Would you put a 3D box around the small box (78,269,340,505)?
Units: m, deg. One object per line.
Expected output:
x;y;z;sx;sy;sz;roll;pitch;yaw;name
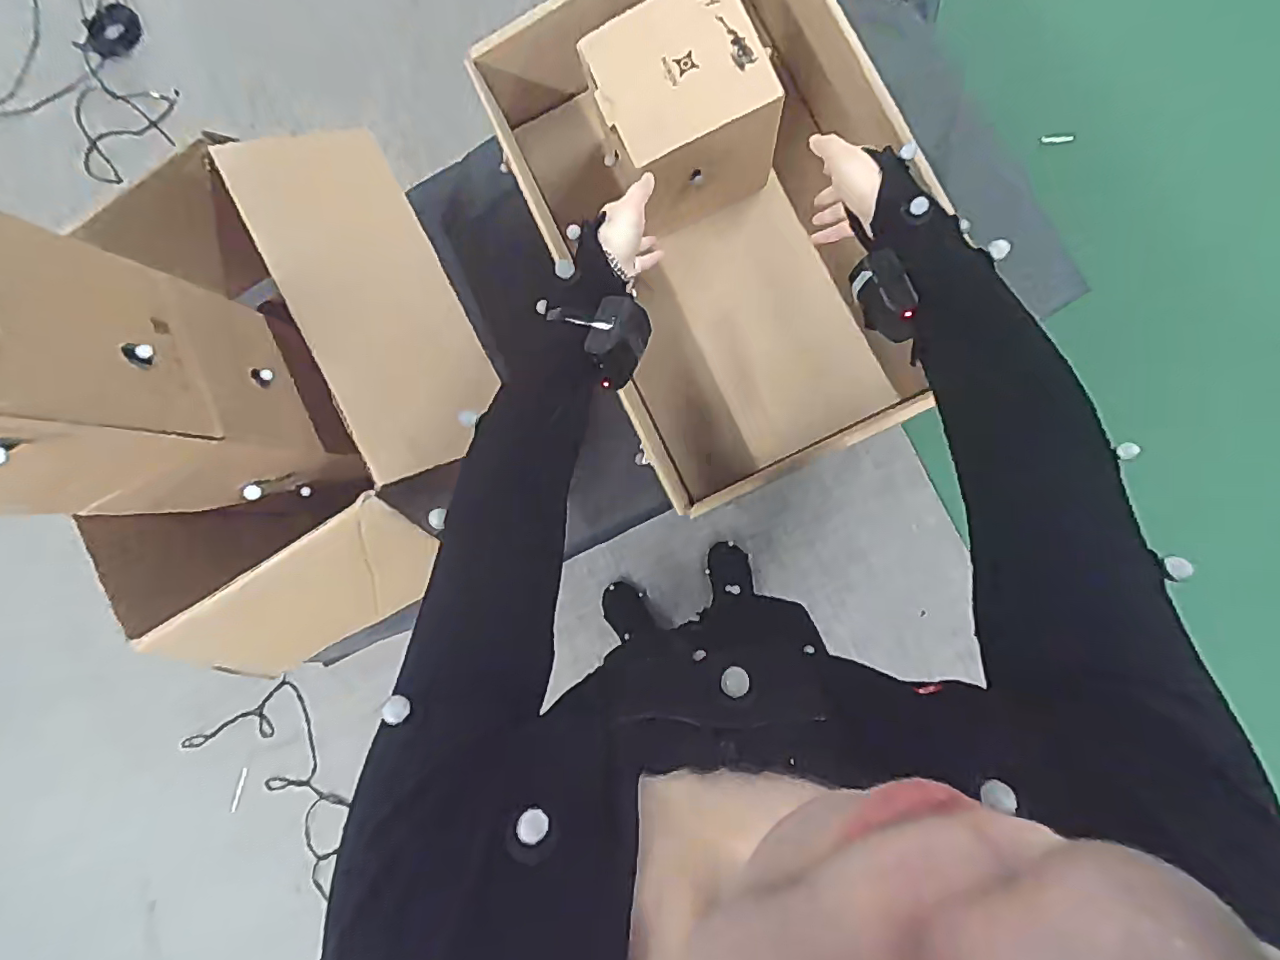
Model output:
-0.468;-0.084;0.577;0.168;0.176;0.179;-24;88;5;small box

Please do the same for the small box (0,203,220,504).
-0.487;-0.084;0.416;0.179;0.176;0.168;-23;86;5;small box
